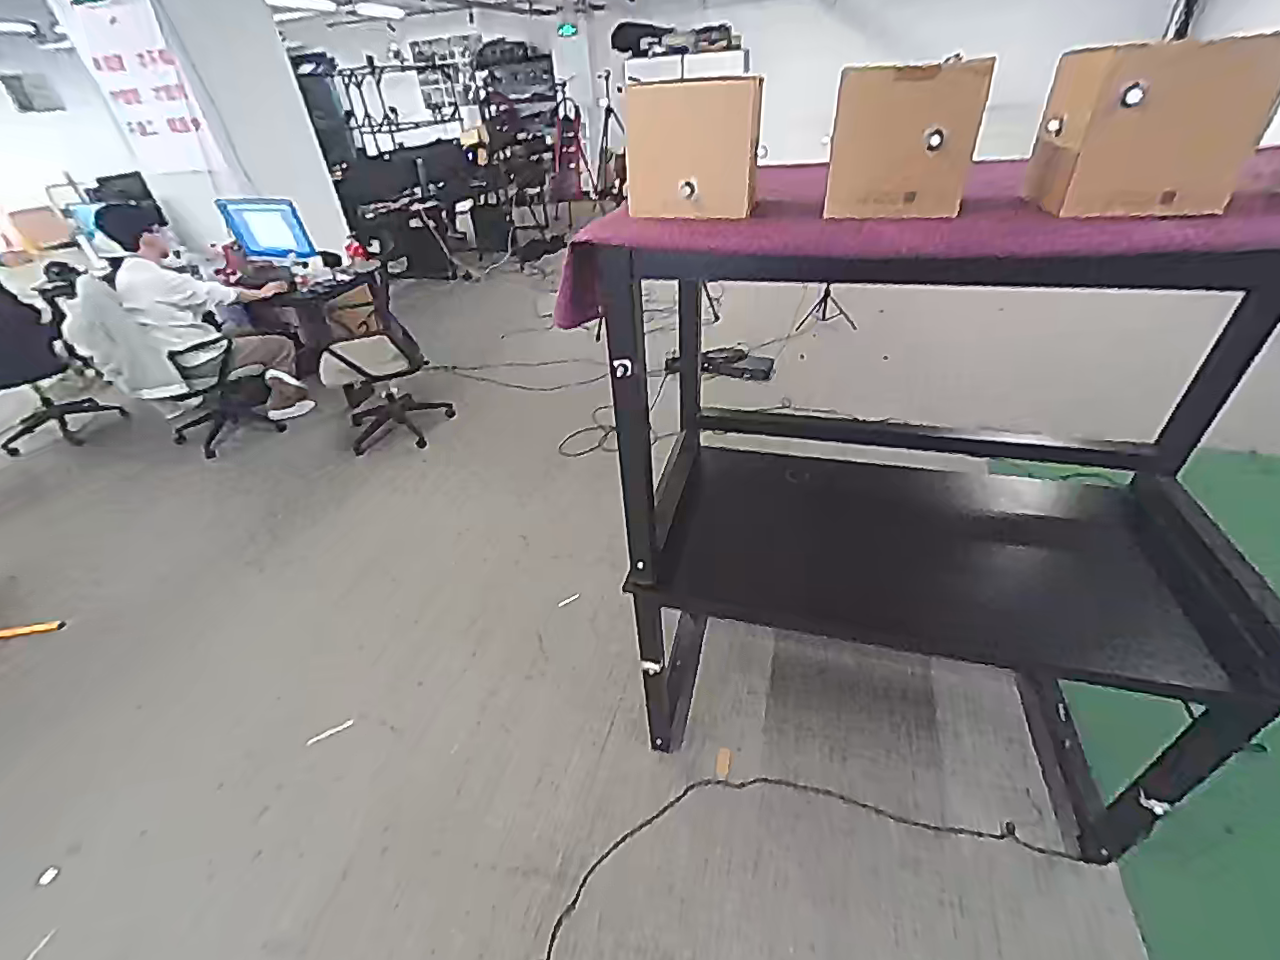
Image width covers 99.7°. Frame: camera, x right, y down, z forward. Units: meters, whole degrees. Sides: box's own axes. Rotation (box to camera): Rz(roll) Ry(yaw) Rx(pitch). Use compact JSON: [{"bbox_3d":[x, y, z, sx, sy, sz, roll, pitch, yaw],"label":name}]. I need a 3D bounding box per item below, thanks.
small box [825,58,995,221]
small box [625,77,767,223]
[{"bbox_3d":[0.349,-0.455,0.731,0.168,0.176,0.179,9,37,16],"label":"small box"},{"bbox_3d":[0.086,-0.486,0.798,0.179,0.176,0.168,6,37,13],"label":"small box"}]
